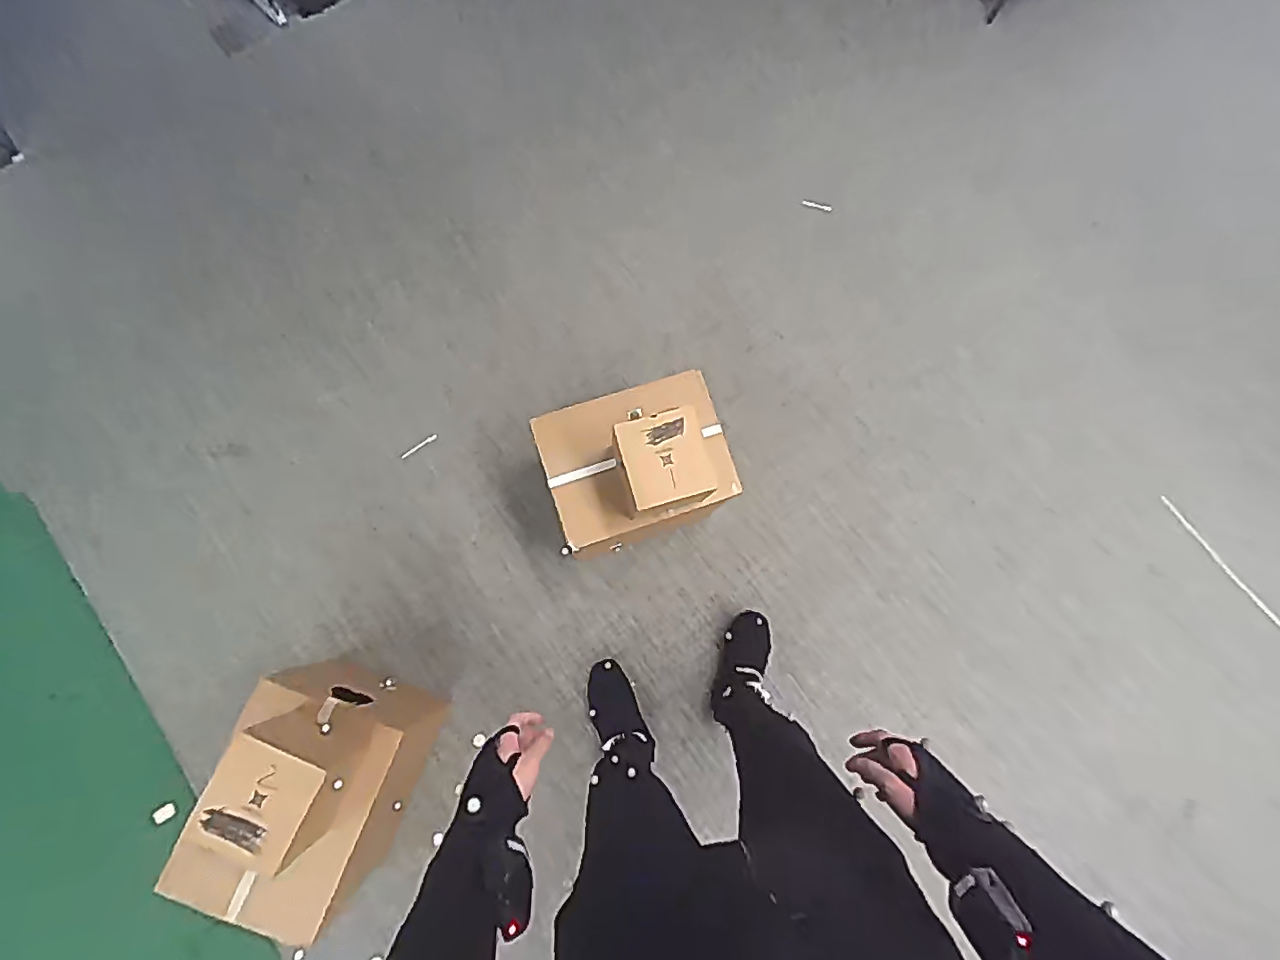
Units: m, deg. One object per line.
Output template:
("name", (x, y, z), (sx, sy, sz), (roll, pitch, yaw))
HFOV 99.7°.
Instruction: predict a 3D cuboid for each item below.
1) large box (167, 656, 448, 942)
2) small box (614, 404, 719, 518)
("large box", (-0.678, 0.645, 1.181), (0.320, 0.320, 0.408), (20, 79, 2))
("small box", (0.045, -0.032, 1.104), (0.168, 0.176, 0.179), (-15, 82, -6))
